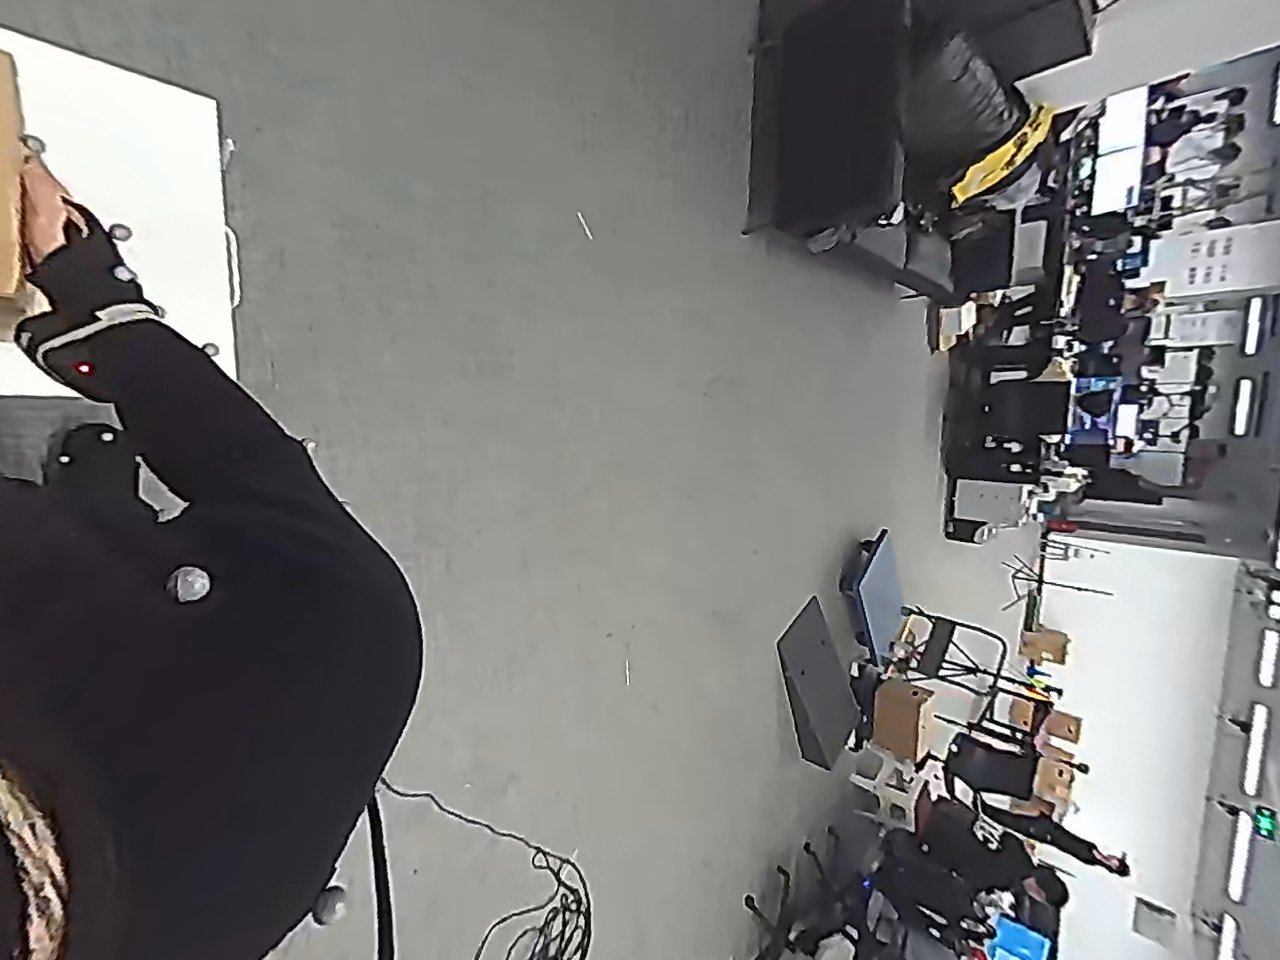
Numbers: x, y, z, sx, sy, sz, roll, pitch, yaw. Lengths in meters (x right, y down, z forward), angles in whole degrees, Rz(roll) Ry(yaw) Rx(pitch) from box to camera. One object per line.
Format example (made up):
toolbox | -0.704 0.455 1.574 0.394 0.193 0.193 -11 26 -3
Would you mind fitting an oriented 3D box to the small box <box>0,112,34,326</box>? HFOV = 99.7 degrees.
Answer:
small box | -0.680 -0.252 0.491 0.168 0.176 0.179 3 93 -47
